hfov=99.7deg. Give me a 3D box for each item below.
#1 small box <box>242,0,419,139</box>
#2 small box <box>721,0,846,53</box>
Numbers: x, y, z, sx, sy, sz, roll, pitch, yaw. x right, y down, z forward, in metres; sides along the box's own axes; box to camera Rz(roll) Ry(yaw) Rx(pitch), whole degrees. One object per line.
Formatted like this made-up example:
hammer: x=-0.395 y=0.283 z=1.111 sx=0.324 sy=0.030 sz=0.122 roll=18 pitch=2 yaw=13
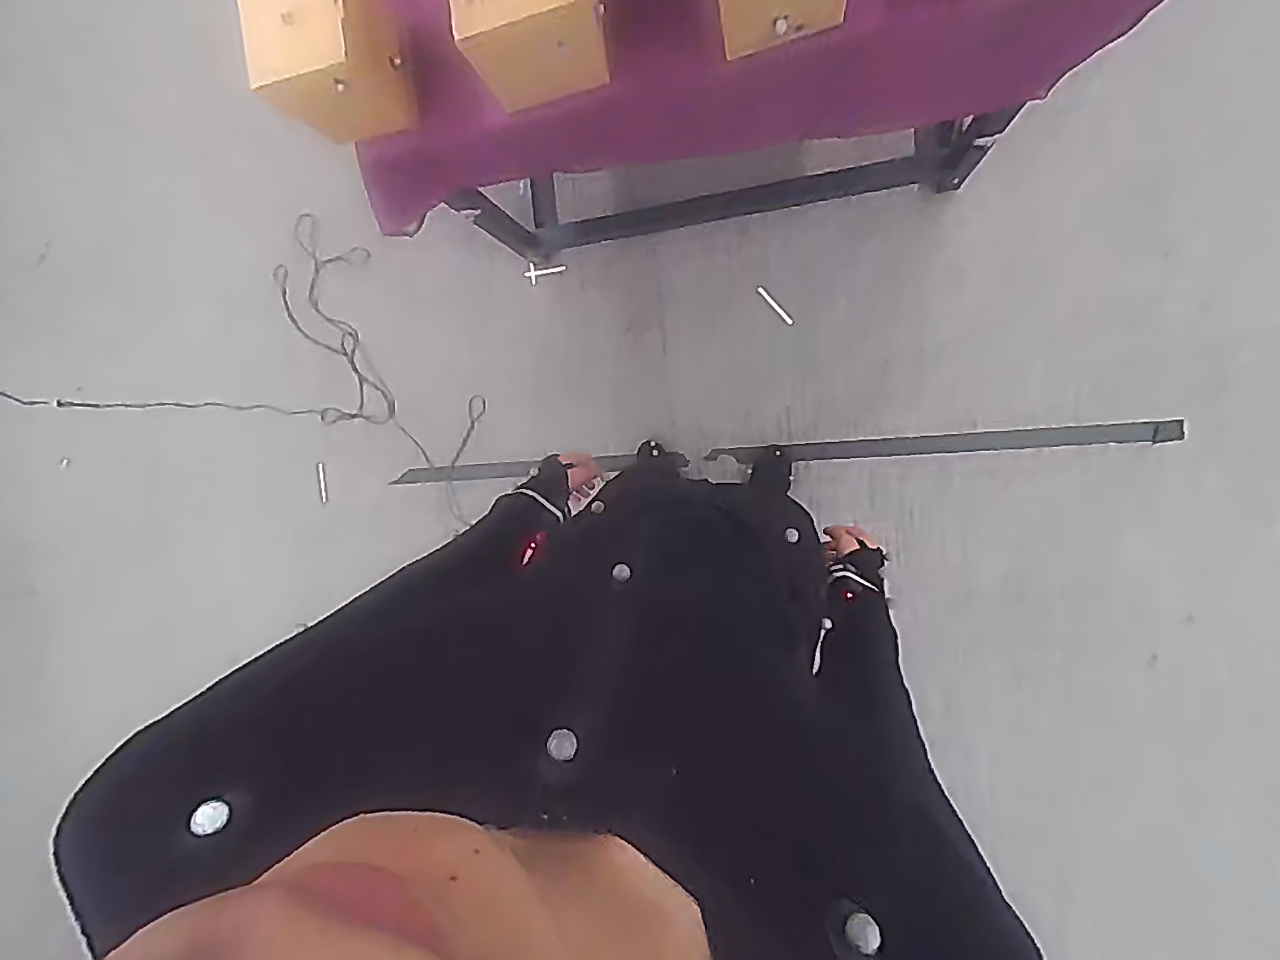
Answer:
small box: x=-0.485 y=-0.680 z=0.861 sx=0.179 sy=0.176 sz=0.168 roll=-5 pitch=94 yaw=13
small box: x=0.179 y=-0.714 z=0.698 sx=0.168 sy=0.176 sz=0.179 roll=-8 pitch=94 yaw=15
